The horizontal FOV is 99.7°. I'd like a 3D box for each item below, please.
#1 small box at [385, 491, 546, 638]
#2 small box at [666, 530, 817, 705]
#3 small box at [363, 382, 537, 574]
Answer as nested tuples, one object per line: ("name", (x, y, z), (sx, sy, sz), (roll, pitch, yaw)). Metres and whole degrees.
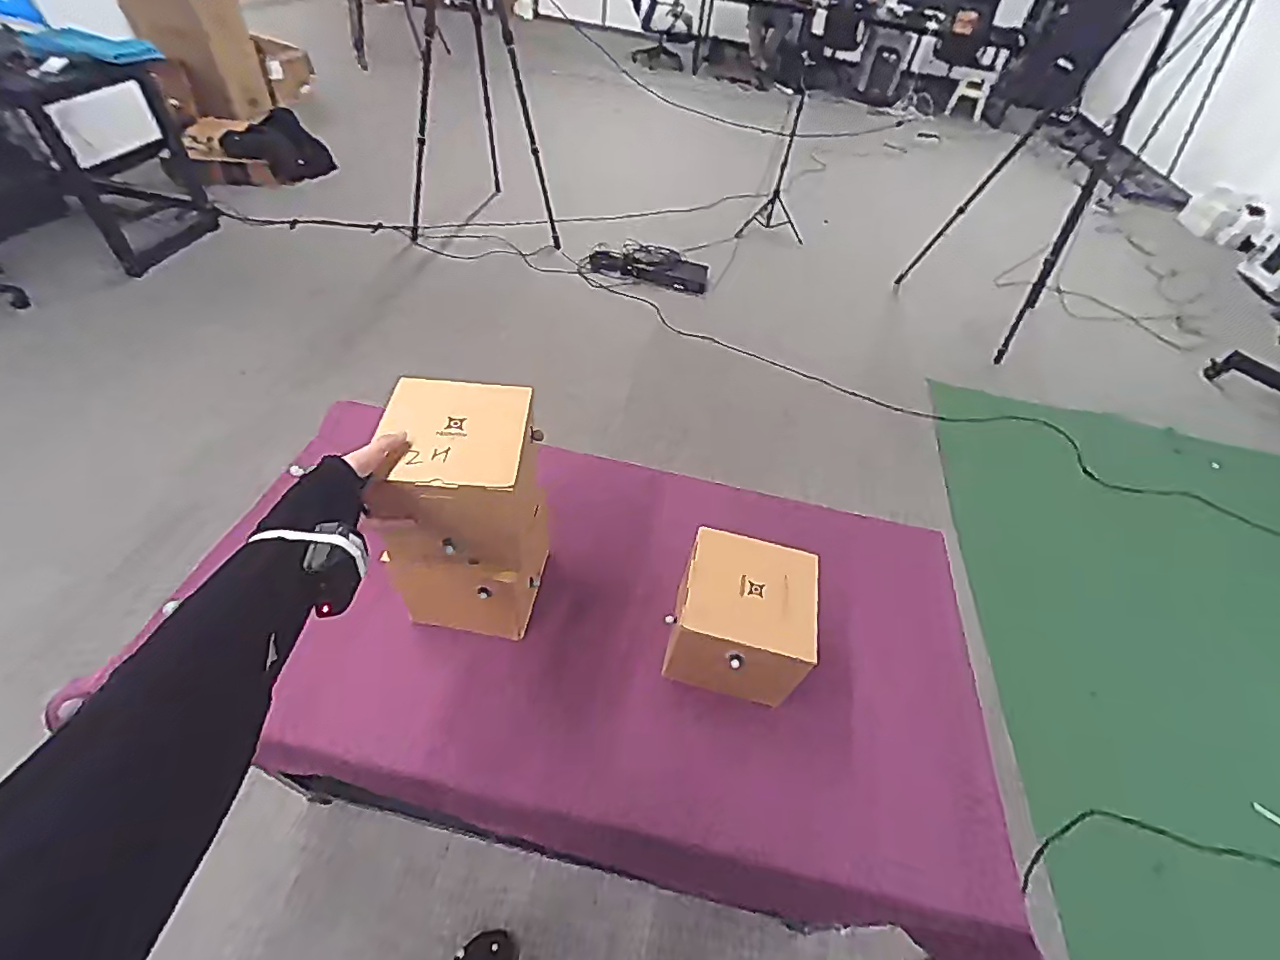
("small box", (-0.244, 0.117, 0.807), (0.179, 0.176, 0.168), (10, 48, -1))
("small box", (0.142, 0.203, 0.783), (0.179, 0.176, 0.168), (14, 49, 4))
("small box", (-0.224, 0.000, 0.693), (0.168, 0.176, 0.179), (3, 48, -5))
